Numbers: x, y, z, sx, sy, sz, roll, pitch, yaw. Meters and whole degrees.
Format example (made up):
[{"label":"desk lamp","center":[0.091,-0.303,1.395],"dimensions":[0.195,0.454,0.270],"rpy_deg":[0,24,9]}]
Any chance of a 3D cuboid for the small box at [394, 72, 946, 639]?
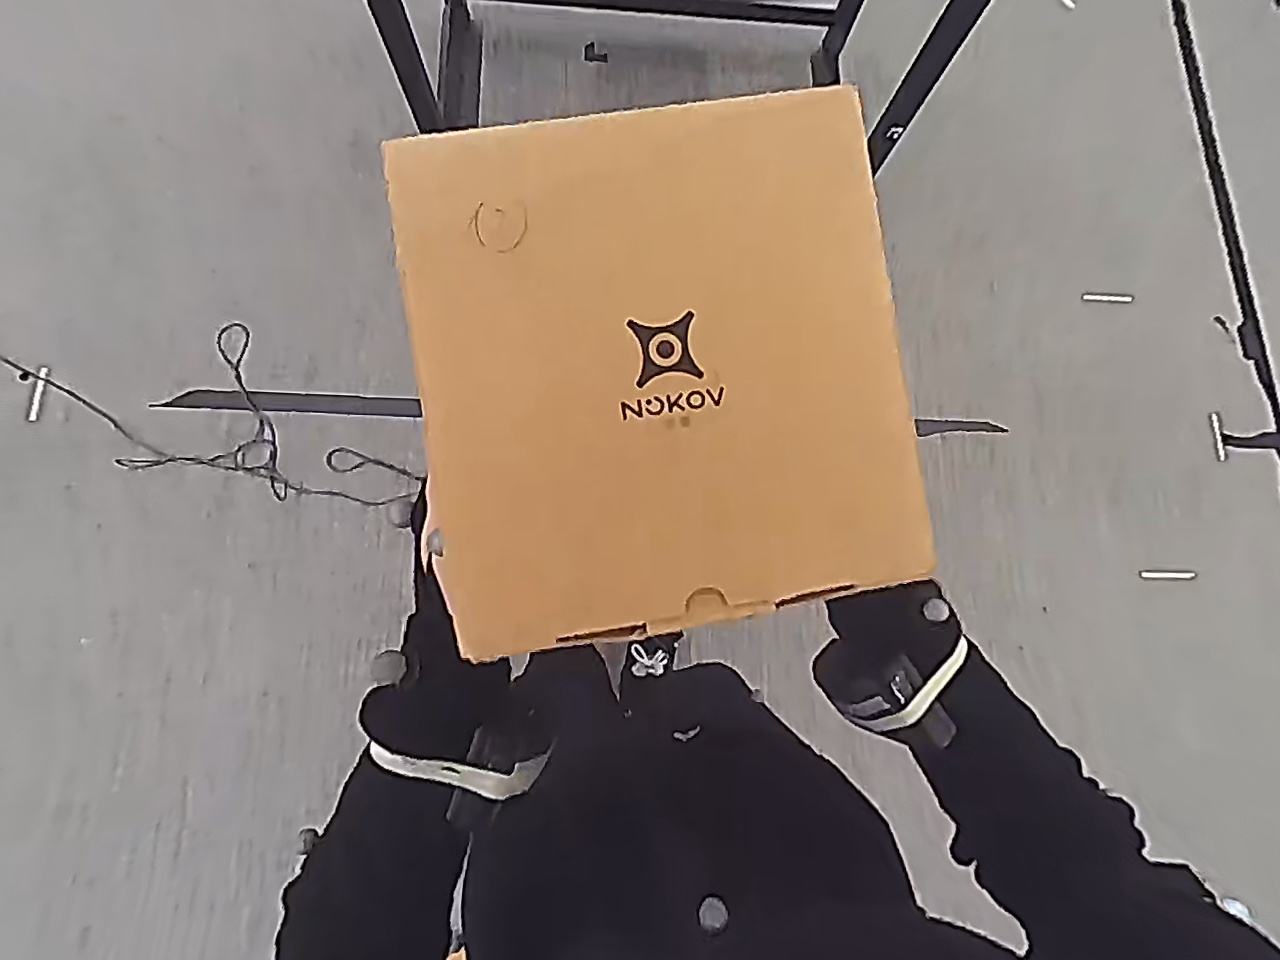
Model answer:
[{"label":"small box","center":[0.006,-0.043,0.261],"dimensions":[0.168,0.176,0.179],"rpy_deg":[-10,89,-4]}]
